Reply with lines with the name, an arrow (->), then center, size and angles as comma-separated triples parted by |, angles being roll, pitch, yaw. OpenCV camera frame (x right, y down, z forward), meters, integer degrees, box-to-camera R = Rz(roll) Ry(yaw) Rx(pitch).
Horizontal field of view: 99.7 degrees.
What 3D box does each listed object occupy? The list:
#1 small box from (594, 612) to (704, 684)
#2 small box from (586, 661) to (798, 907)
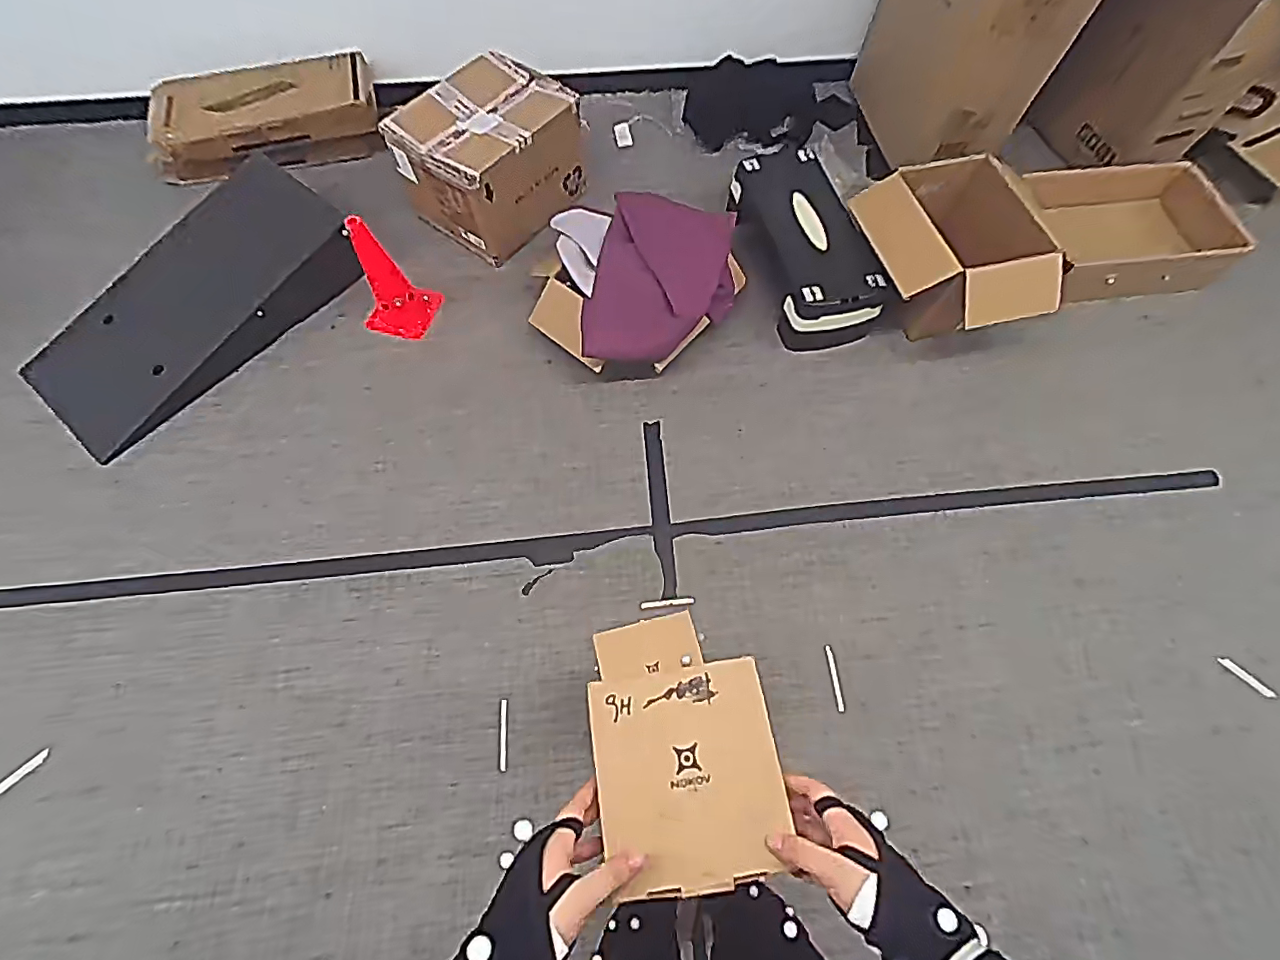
small box -> 0.022, 0.342, 0.918 | 0.168, 0.176, 0.179 | -13, 67, -5
small box -> 0.044, 0.294, 0.554 | 0.168, 0.176, 0.179 | -9, 66, -2
